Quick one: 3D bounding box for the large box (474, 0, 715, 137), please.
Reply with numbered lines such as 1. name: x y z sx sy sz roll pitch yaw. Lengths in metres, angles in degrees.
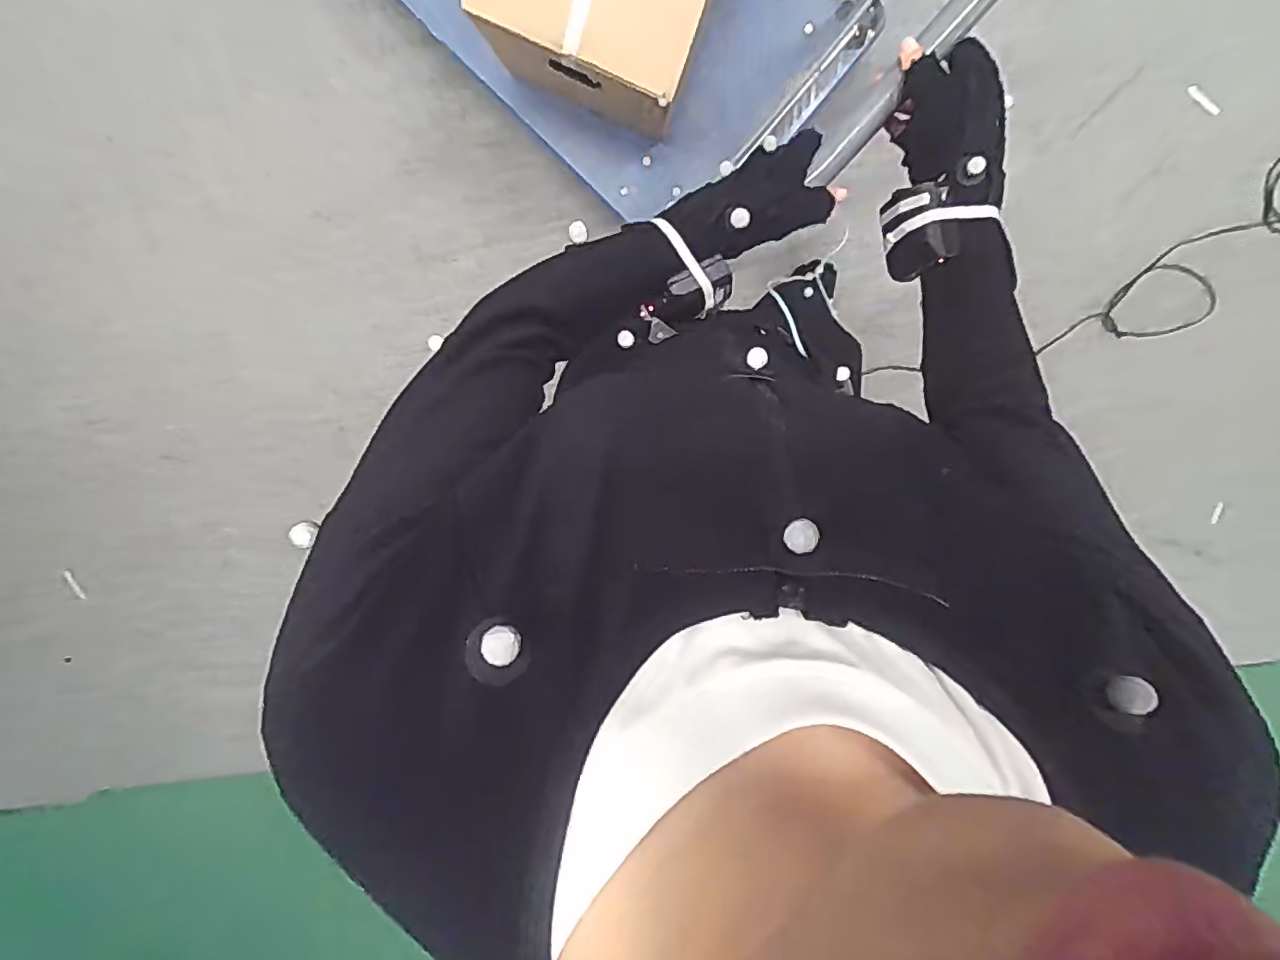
1. large box: -0.022 -0.823 0.825 0.320 0.320 0.408 19 113 -8
